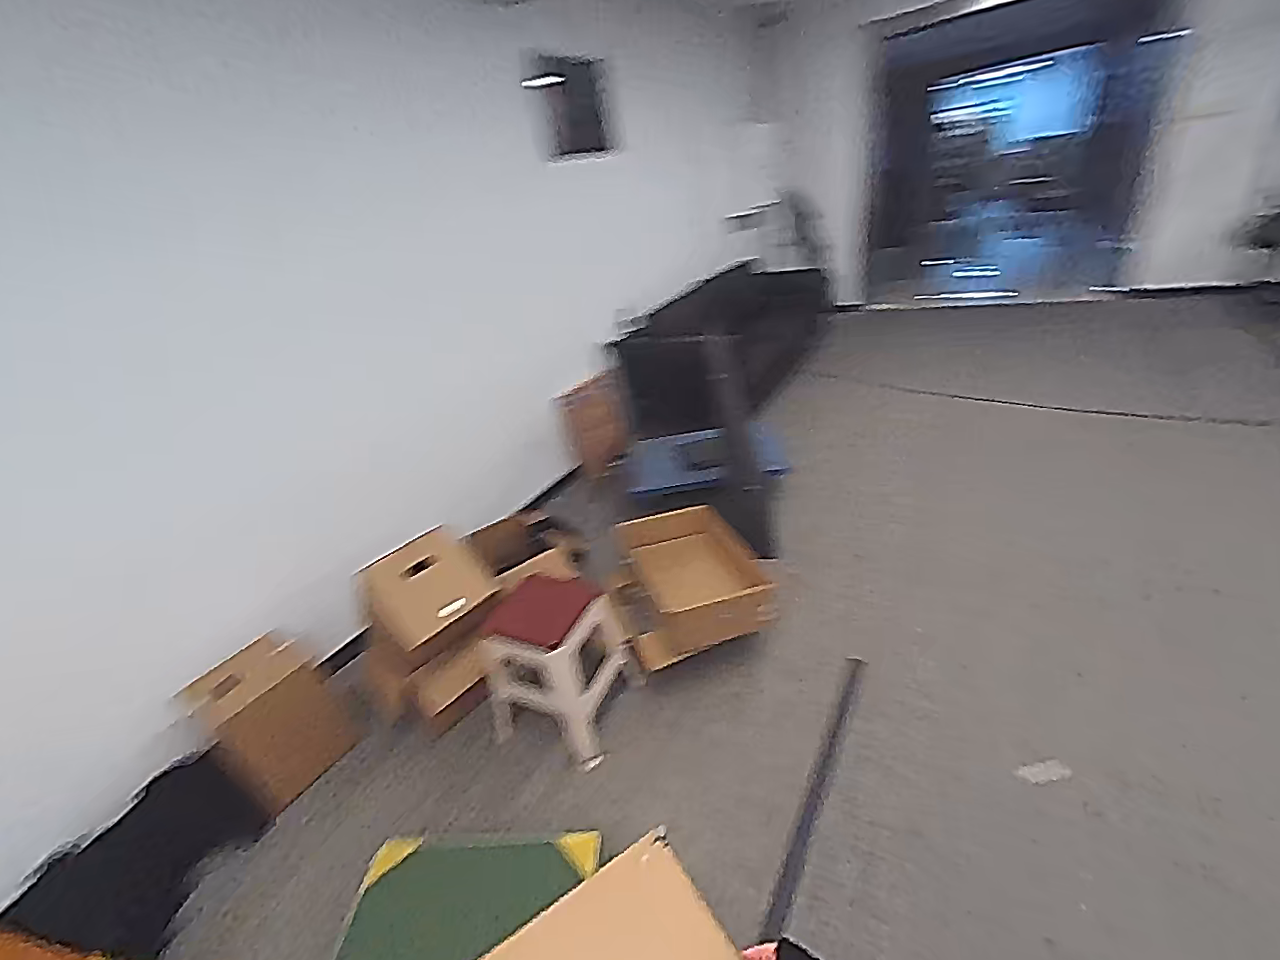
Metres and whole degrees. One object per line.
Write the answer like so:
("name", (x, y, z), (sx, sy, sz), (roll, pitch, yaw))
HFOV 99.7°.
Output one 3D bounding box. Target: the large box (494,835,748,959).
("large box", (-0.046, 0.648, 0.481), (0.408, 0.320, 0.320), (-21, 35, -26))
